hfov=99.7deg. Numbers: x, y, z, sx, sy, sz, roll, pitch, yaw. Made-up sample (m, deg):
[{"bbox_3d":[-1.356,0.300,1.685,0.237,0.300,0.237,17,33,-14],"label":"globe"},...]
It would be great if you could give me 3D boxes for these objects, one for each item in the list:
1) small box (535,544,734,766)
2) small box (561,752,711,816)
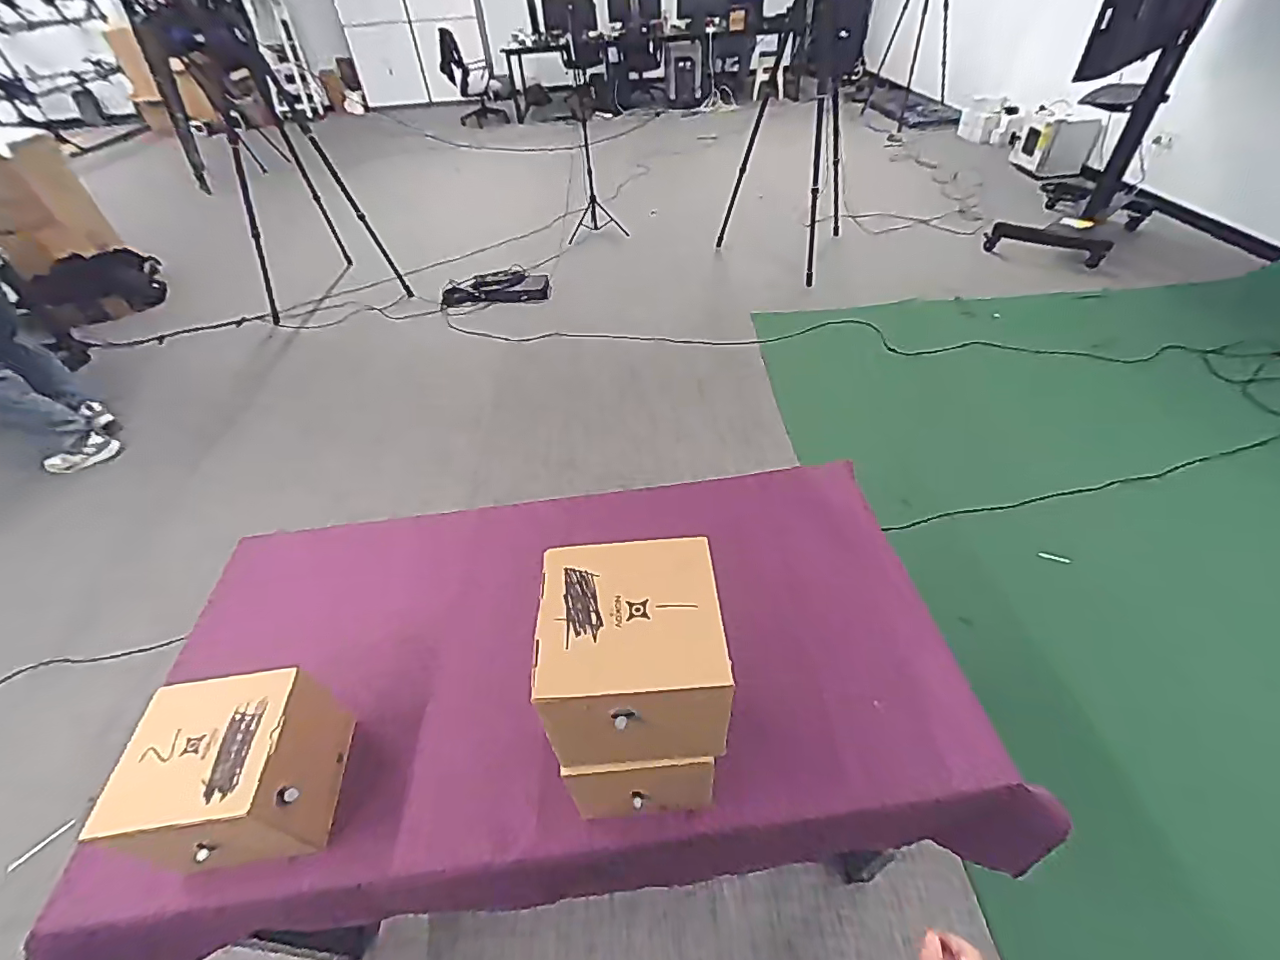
[{"bbox_3d":[-0.003,0.189,0.575,0.179,0.176,0.168,-4,45,0],"label":"small box"},{"bbox_3d":[-0.002,0.309,0.687,0.168,0.176,0.179,-4,44,0],"label":"small box"}]
